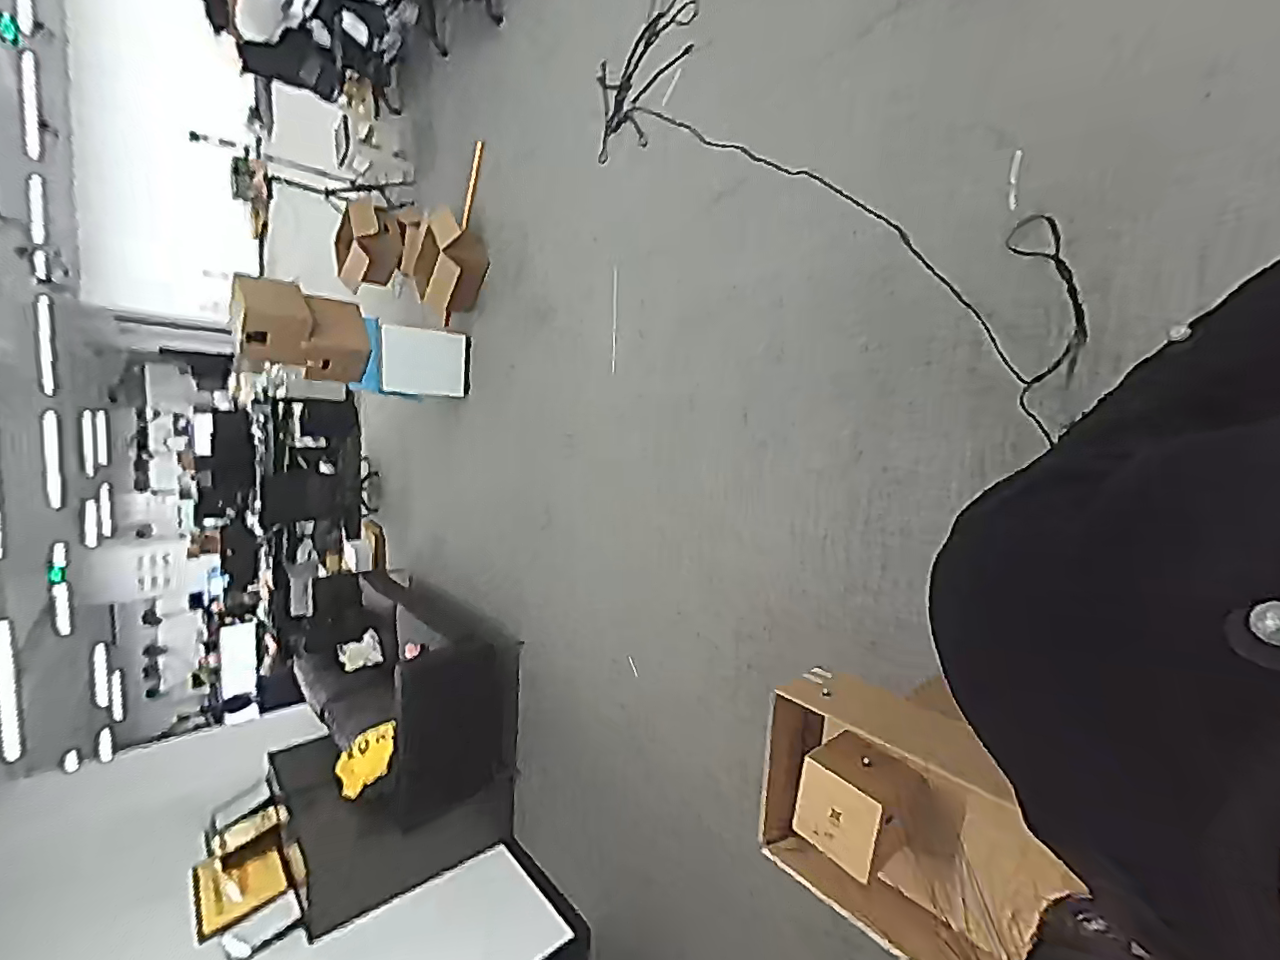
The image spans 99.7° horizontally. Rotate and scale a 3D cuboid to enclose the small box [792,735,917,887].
[{"bbox_3d":[0.440,0.659,1.104,0.168,0.176,0.179,18,105,48],"label":"small box"}]
